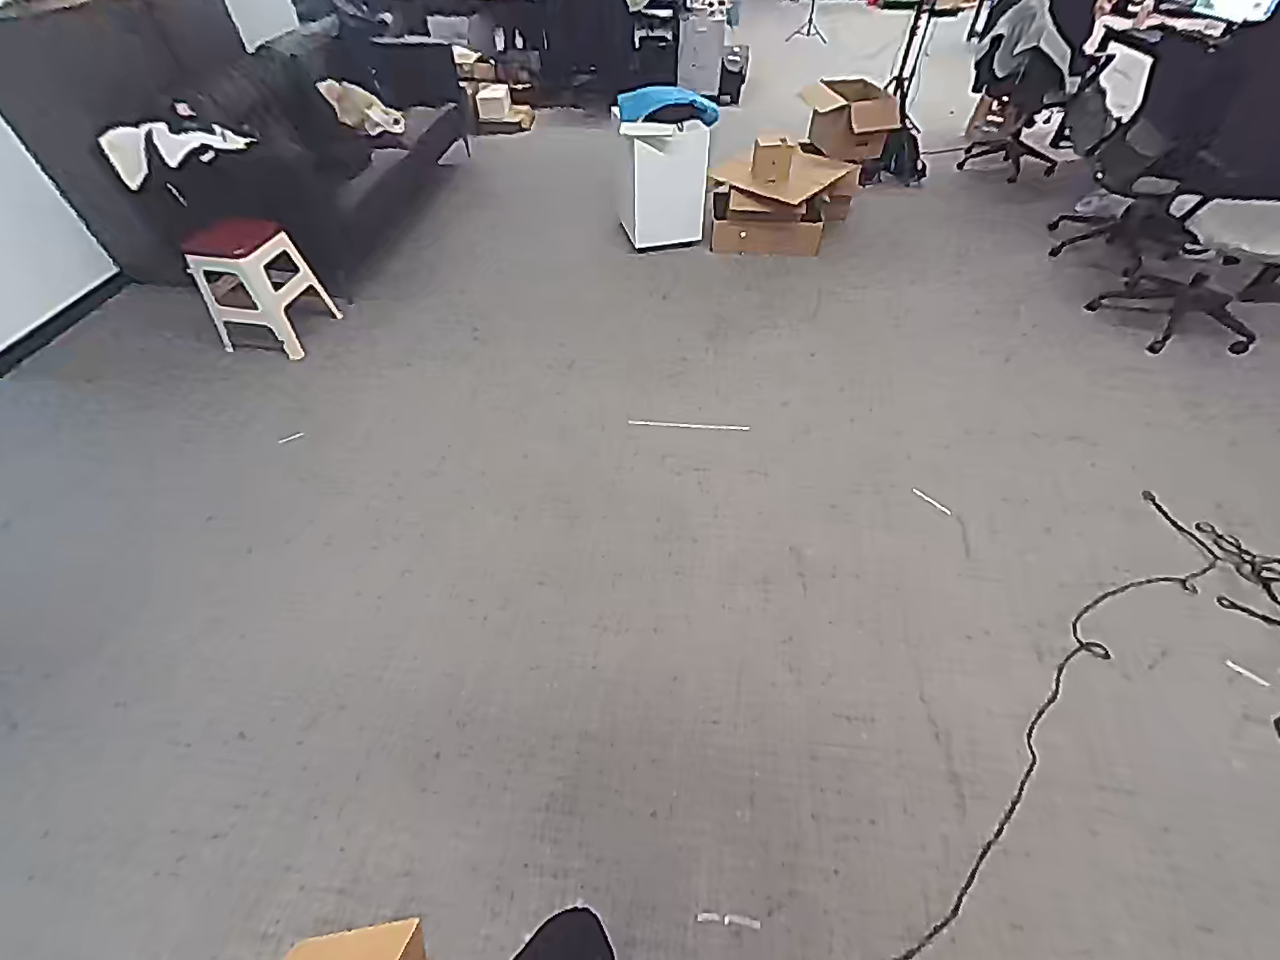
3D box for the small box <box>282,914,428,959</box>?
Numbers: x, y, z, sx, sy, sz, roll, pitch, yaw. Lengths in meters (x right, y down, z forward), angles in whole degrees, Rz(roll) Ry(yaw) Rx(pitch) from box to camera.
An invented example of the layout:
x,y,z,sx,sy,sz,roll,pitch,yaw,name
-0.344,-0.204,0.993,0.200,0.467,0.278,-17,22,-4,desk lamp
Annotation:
x,y,z,sx,sy,sz,roll,pitch,yaw,name
-0.357,0.669,0.634,0.168,0.179,0.176,-10,86,-2,small box
